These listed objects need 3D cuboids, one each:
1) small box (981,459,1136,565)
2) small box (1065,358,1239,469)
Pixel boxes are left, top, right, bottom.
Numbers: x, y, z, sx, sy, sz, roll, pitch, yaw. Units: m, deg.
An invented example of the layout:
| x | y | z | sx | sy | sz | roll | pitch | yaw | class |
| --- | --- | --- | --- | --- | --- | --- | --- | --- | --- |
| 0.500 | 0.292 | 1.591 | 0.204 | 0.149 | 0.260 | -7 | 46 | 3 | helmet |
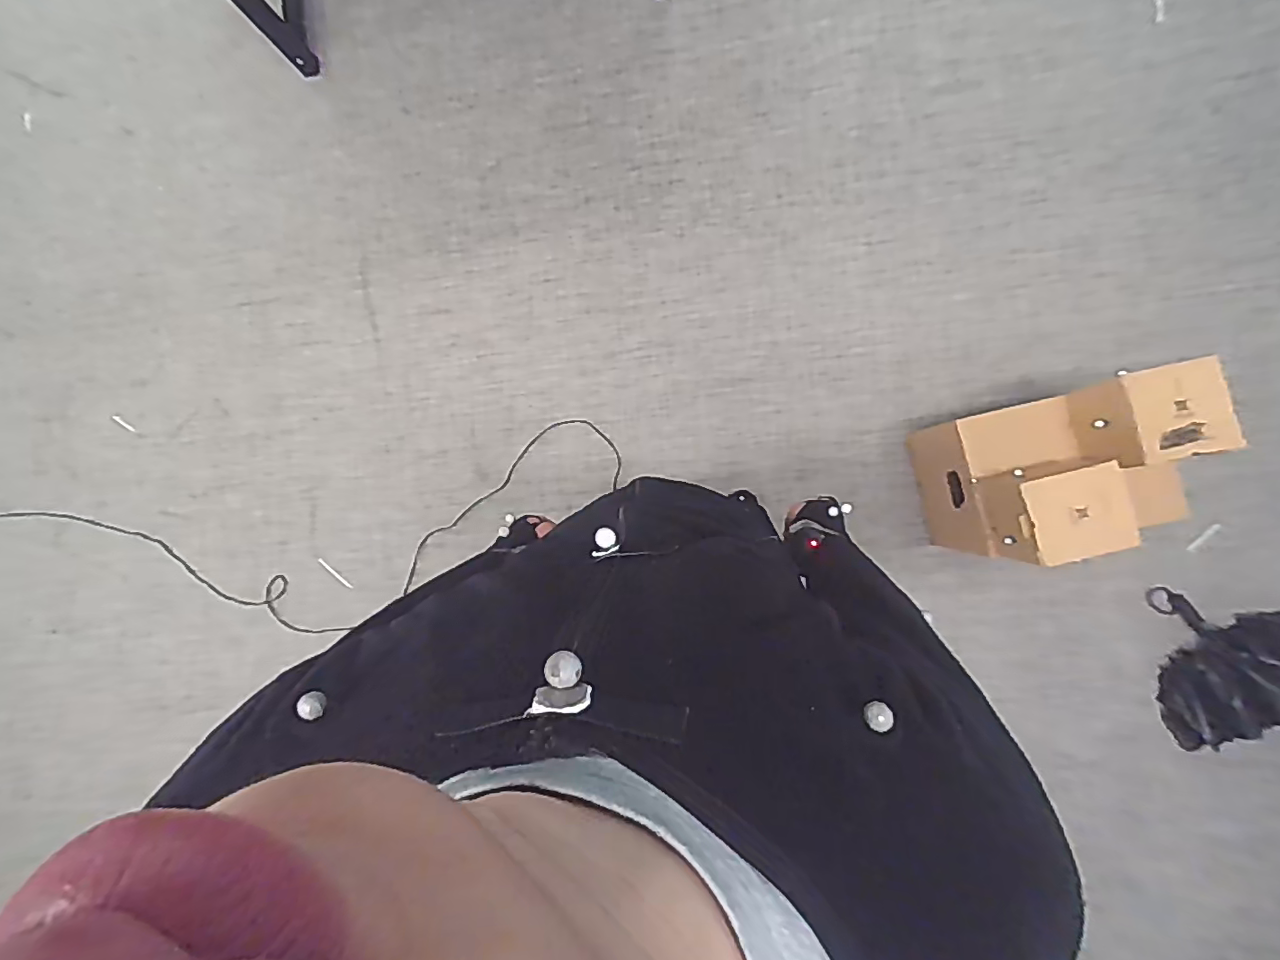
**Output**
| x | y | z | sx | sy | sz | roll | pitch | yaw | class |
| --- | --- | --- | --- | --- | --- | --- | --- | --- | --- |
| 0.819 | 0.060 | 1.084 | 0.179 | 0.176 | 0.168 | -16 | 90 | 5 | small box |
| 0.994 | -0.119 | 1.067 | 0.168 | 0.176 | 0.179 | -11 | 84 | 6 | small box |
